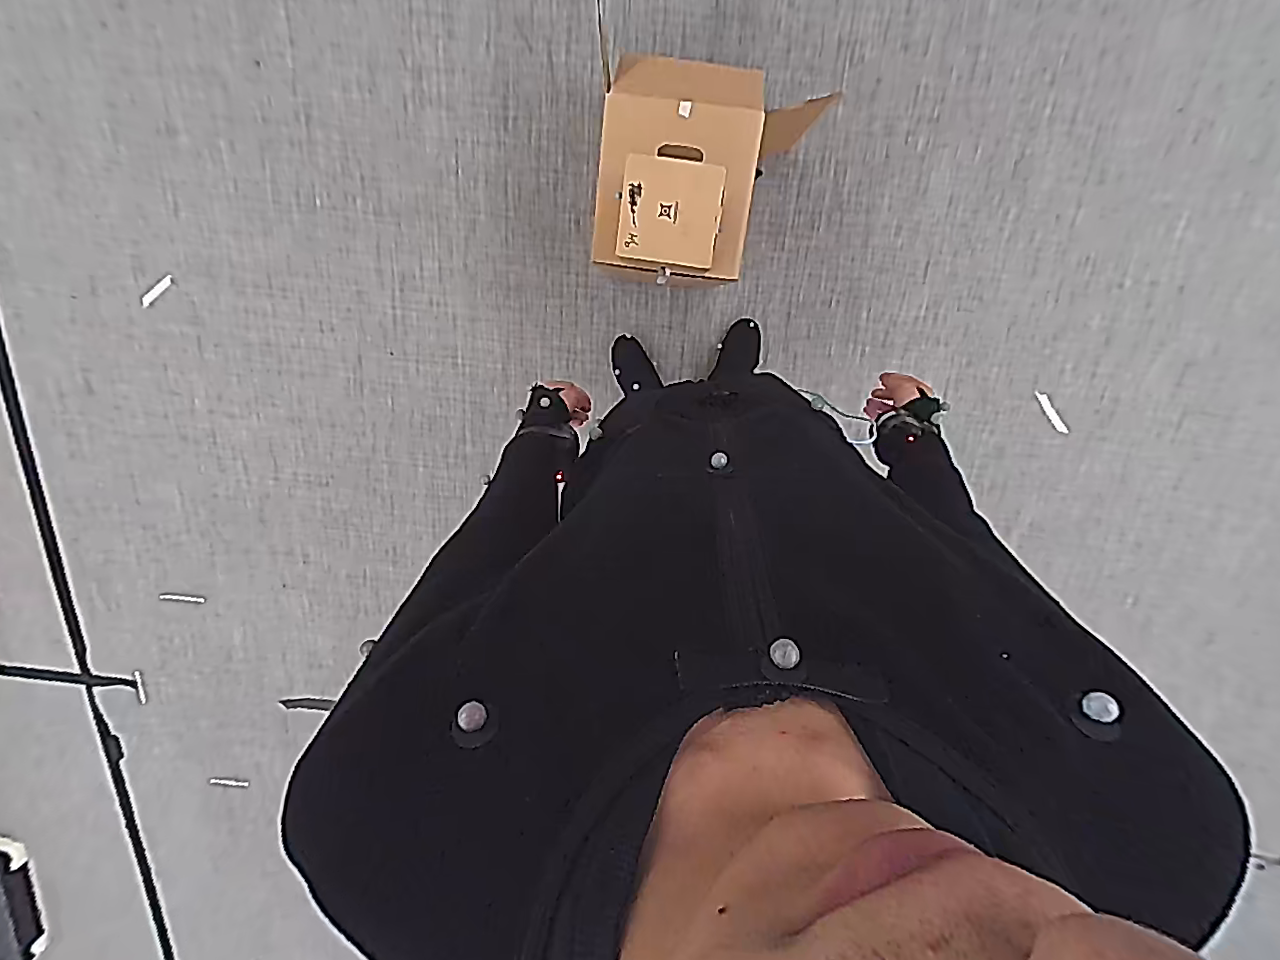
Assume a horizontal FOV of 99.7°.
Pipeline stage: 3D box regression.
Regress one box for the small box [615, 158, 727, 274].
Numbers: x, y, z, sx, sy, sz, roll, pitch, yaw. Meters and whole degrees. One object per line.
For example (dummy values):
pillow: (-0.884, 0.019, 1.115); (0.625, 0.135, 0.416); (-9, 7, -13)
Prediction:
small box: (0.054, -0.490, 1.027); (0.179, 0.176, 0.168); (8, 109, -1)
